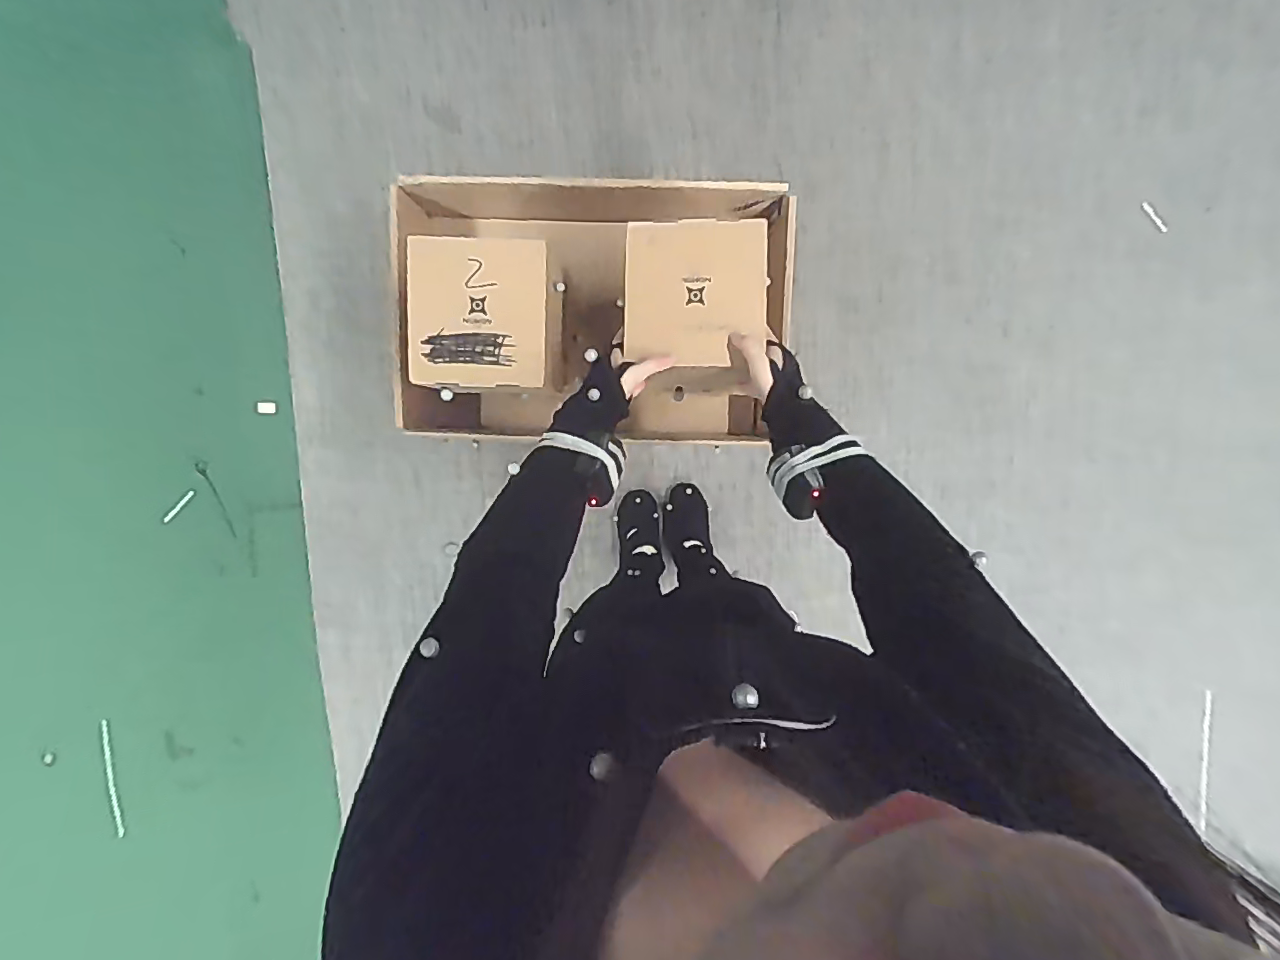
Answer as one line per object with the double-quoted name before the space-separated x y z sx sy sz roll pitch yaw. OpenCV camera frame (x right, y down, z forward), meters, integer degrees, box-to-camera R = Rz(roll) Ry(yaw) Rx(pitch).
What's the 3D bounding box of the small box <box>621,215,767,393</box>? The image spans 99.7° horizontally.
"small box" 0.068 -0.219 0.706 0.168 0.176 0.179 2 88 5
